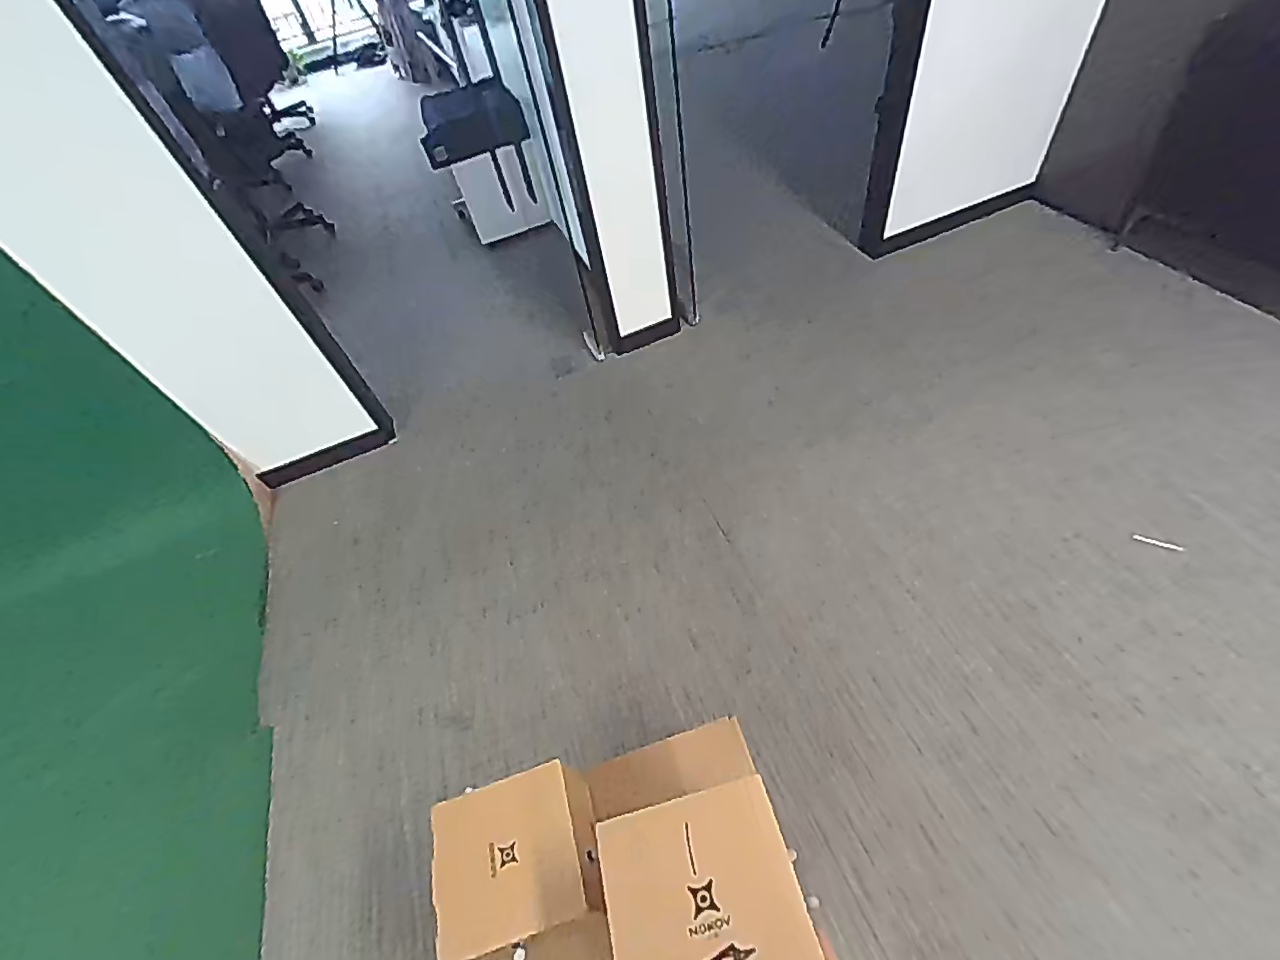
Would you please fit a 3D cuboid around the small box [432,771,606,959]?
[{"bbox_3d":[-0.147,0.507,0.699,0.179,0.176,0.168,-19,49,-4],"label":"small box"}]

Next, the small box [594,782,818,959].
[{"bbox_3d":[0.068,0.419,0.508,0.168,0.176,0.179,-17,46,-1],"label":"small box"}]
